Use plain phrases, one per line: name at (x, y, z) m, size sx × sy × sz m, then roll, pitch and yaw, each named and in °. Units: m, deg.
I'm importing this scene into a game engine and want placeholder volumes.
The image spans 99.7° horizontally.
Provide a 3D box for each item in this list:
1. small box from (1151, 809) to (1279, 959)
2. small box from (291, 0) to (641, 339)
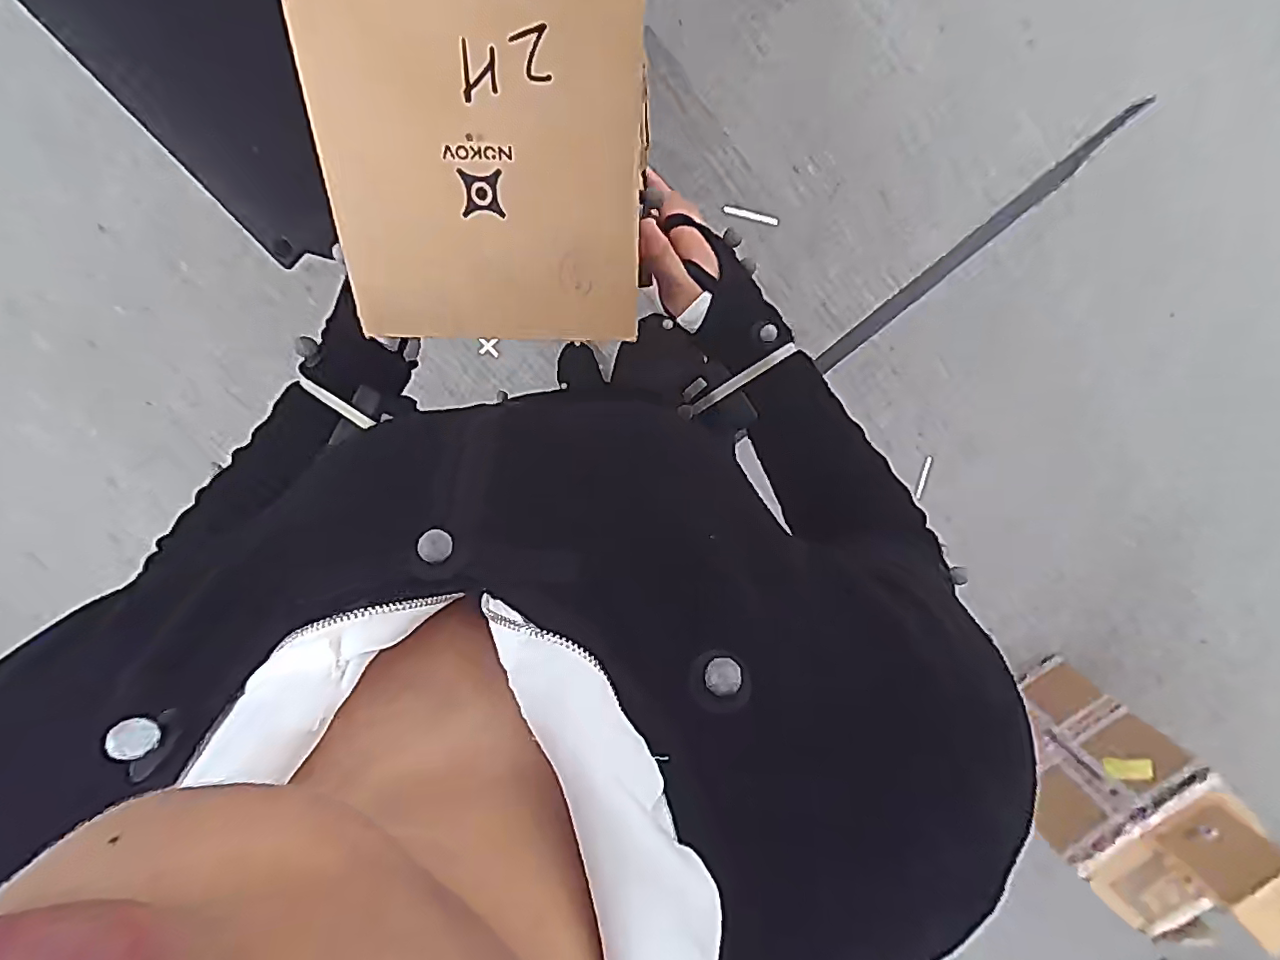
small box at (1.309, 0.879, 1.191) m, size 0.168 × 0.176 × 0.179 m, roll -44°, pitch 97°, yaw 7°
small box at (-0.084, -0.203, 0.357) m, size 0.168 × 0.176 × 0.179 m, roll 0°, pitch 119°, yaw -2°
